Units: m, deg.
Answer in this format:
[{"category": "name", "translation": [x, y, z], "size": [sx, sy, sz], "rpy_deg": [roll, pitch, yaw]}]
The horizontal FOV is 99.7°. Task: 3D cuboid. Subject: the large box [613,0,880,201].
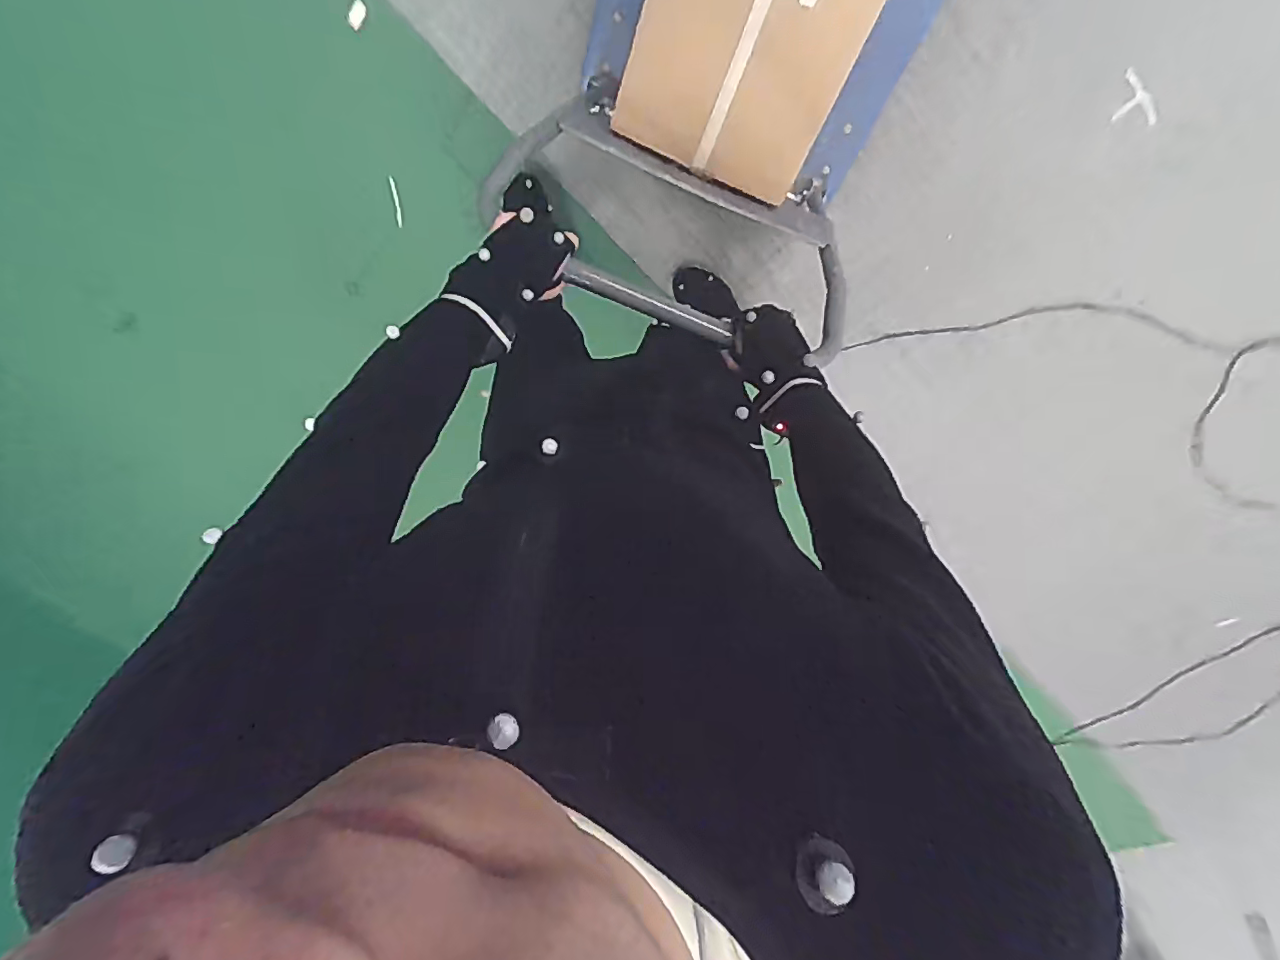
[{"category": "large box", "translation": [0.186, -0.755, 0.897], "size": [0.320, 0.320, 0.408], "rpy_deg": [22, 129, -7]}]
